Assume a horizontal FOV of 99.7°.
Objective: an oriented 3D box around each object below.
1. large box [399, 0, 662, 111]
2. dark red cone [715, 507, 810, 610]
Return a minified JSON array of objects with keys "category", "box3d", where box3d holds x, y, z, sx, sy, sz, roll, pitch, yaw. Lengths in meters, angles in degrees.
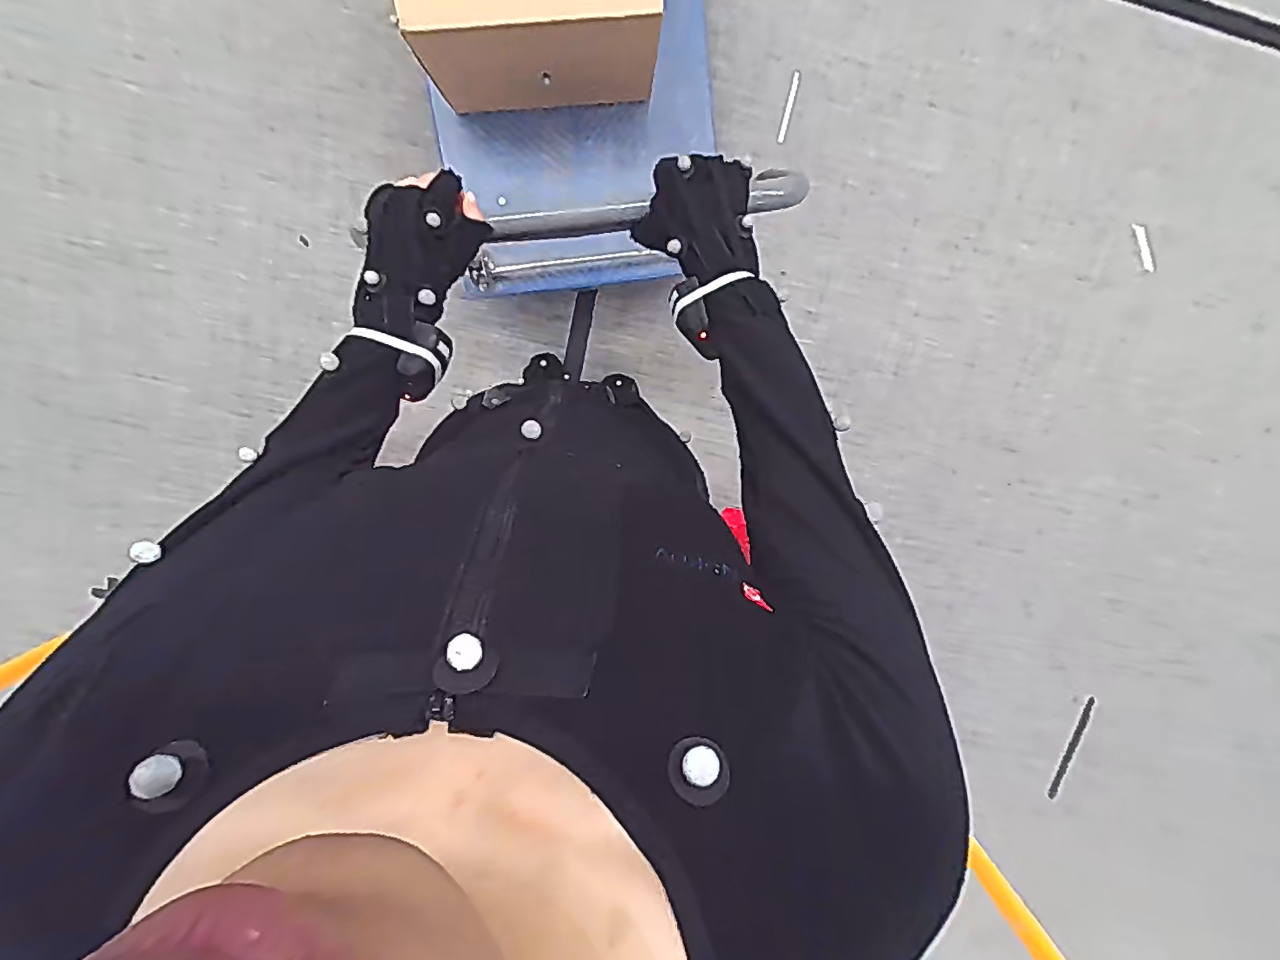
[{"category":"large box","box3d":[-0.181,-0.884,0.934,0.408,0.320,0.320,-5,104,0]},{"category":"dark red cone","box3d":[0.335,0.221,1.358,0.201,0.394,0.202,11,103,-7]}]
